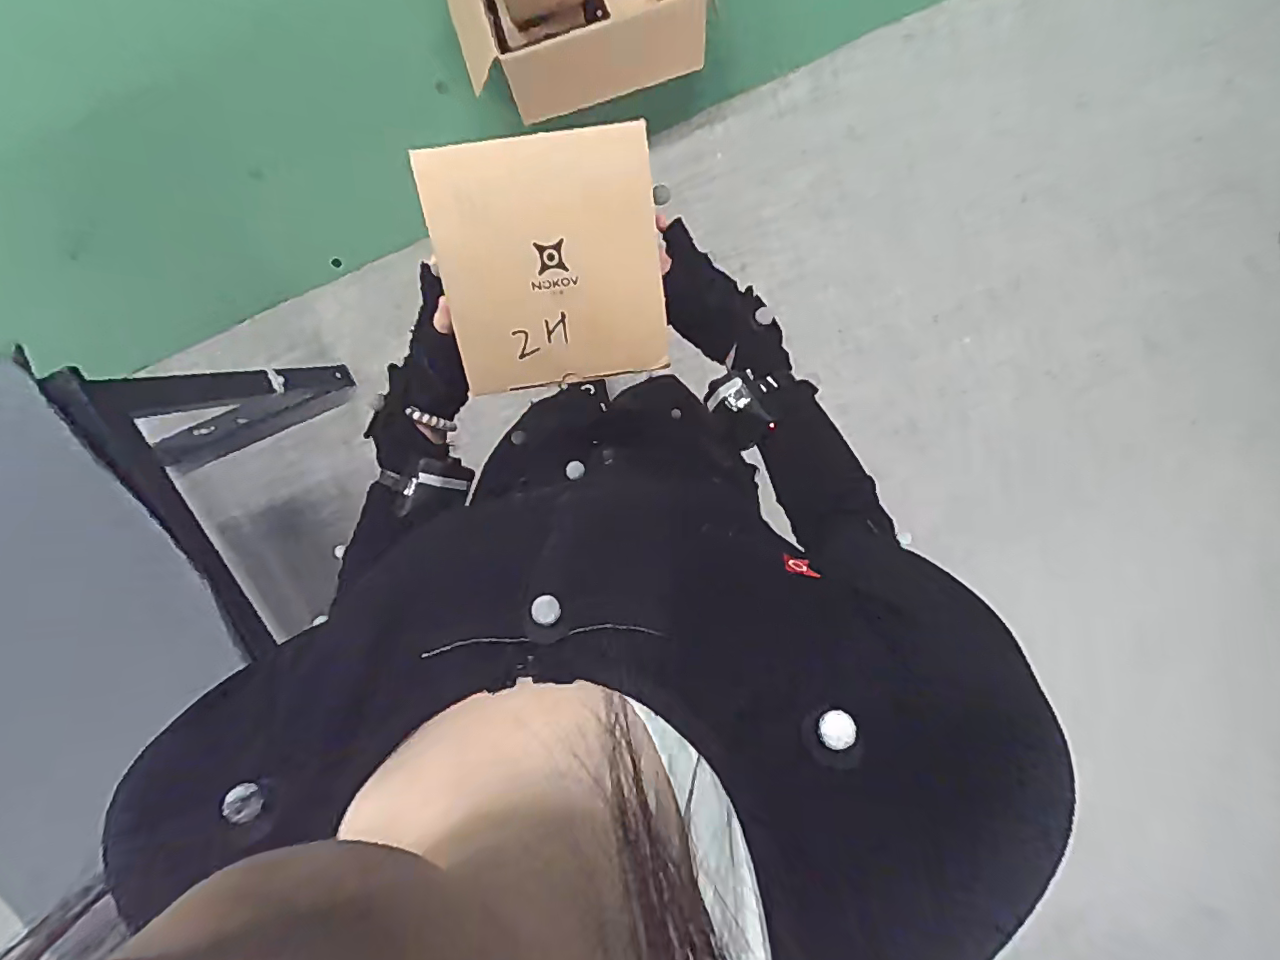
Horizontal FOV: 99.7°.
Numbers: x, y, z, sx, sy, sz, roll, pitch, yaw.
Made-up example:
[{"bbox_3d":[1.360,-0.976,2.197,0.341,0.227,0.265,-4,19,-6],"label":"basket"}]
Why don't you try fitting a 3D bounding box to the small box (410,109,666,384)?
[{"bbox_3d":[-0.075,-0.195,0.473,0.168,0.176,0.179,-8,114,-2],"label":"small box"}]
